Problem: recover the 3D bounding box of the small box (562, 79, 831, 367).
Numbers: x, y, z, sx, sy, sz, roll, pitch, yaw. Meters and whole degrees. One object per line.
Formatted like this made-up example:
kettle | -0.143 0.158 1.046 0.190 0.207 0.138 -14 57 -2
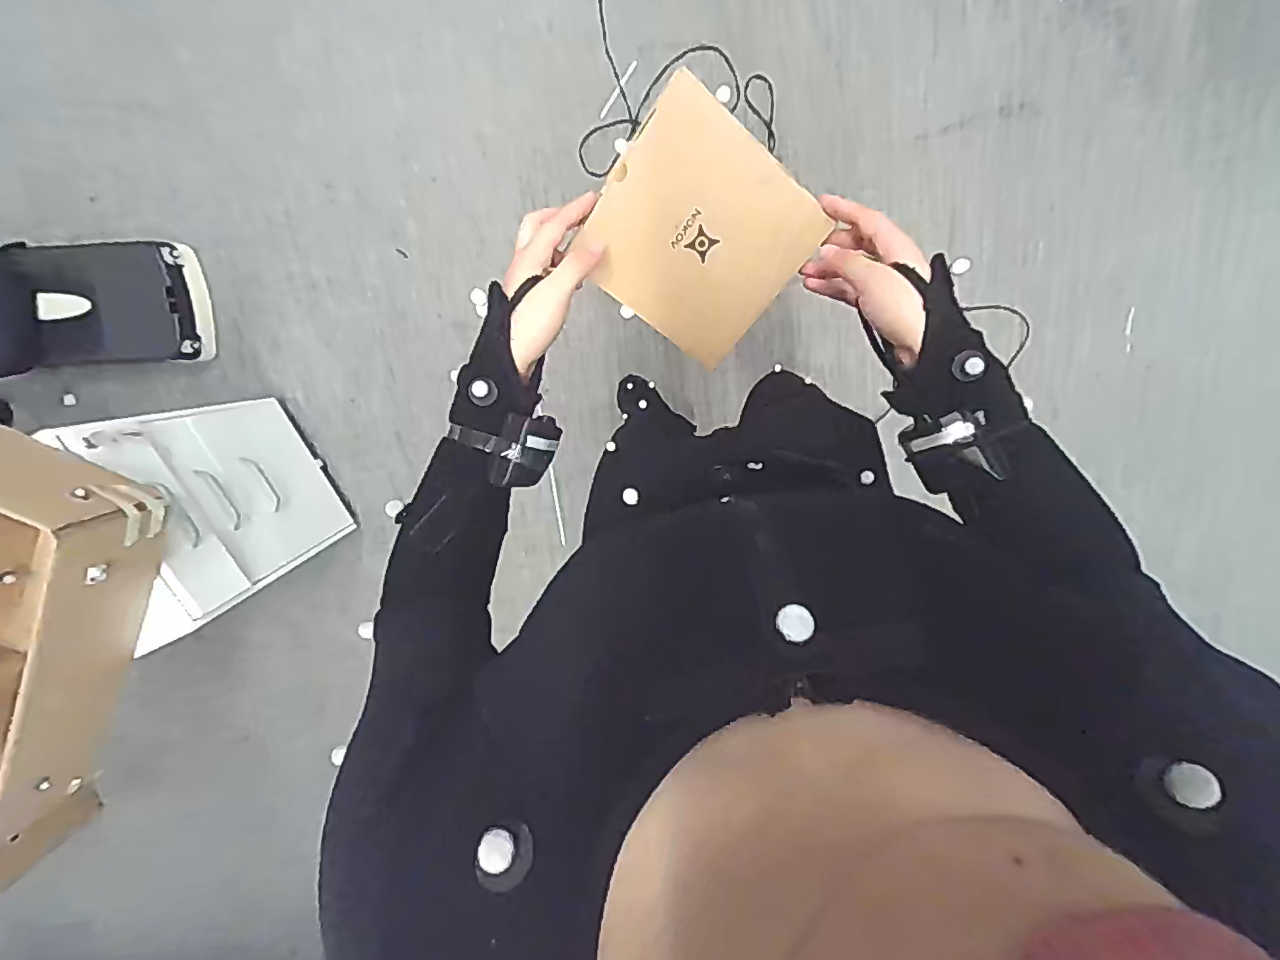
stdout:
small box | 0.048 -0.248 0.532 0.179 0.176 0.168 33 116 -18
